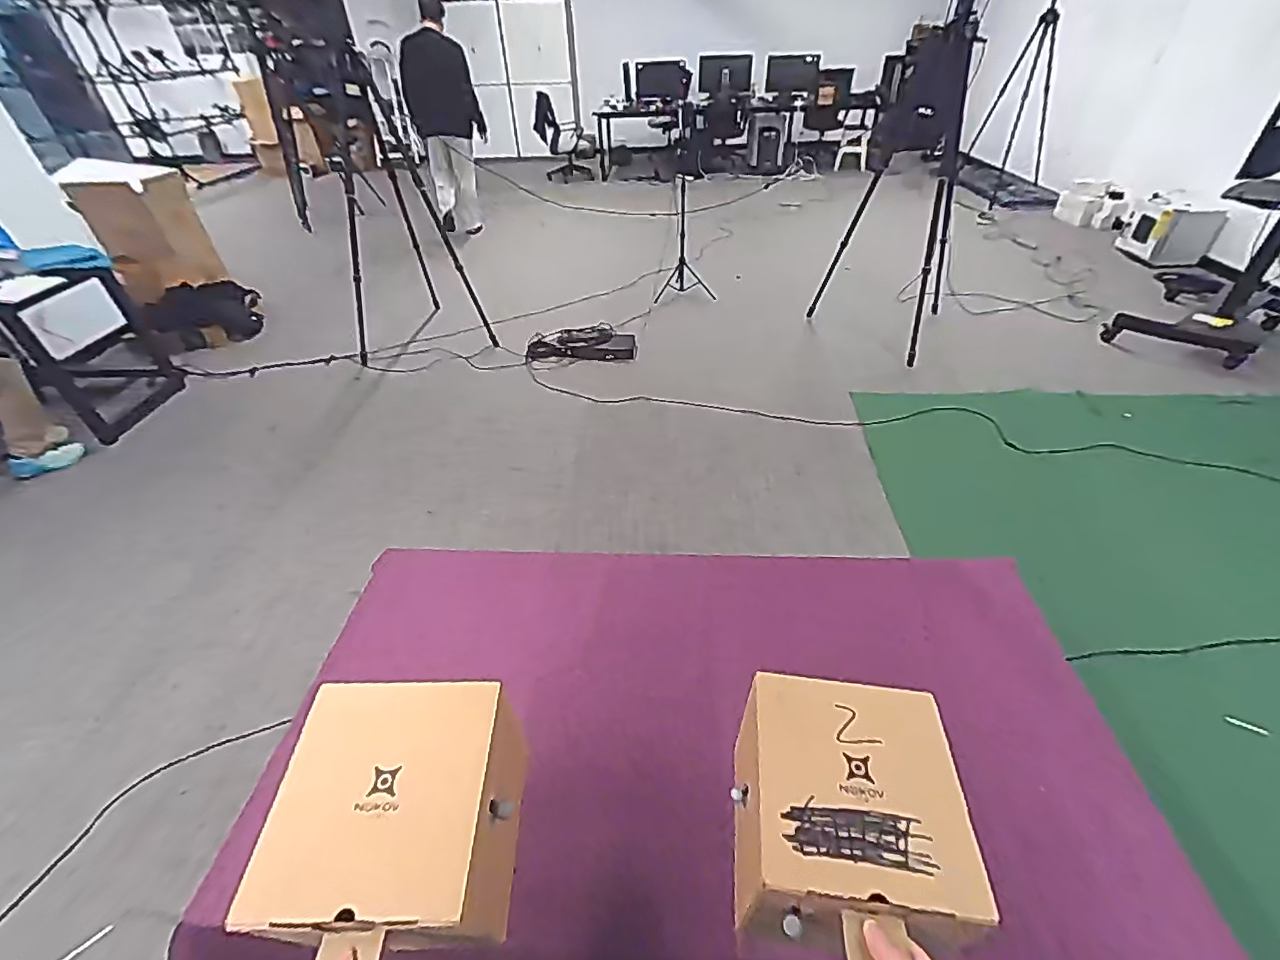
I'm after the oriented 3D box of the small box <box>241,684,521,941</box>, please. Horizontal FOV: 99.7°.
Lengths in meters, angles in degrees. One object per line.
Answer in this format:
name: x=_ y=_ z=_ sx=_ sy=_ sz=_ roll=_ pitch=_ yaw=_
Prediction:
small box: x=-0.212 y=0.311 z=0.507 sx=0.168 sy=0.176 sz=0.179 roll=0 pitch=47 yaw=-1
